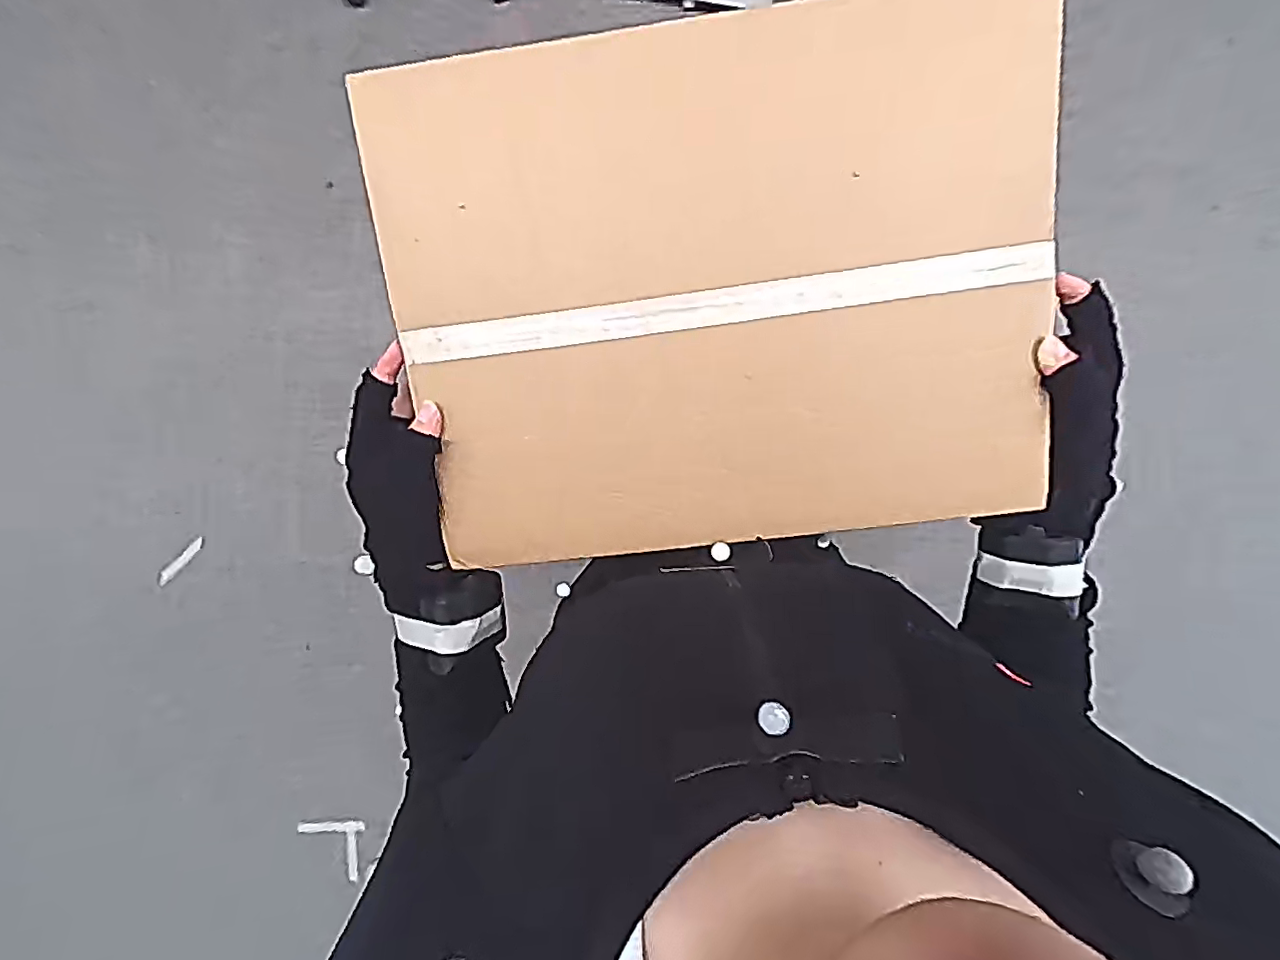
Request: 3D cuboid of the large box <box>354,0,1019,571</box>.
[{"bbox_3d":[0.046,-0.141,0.496,0.408,0.320,0.320,-7,102,4],"label":"large box"}]
